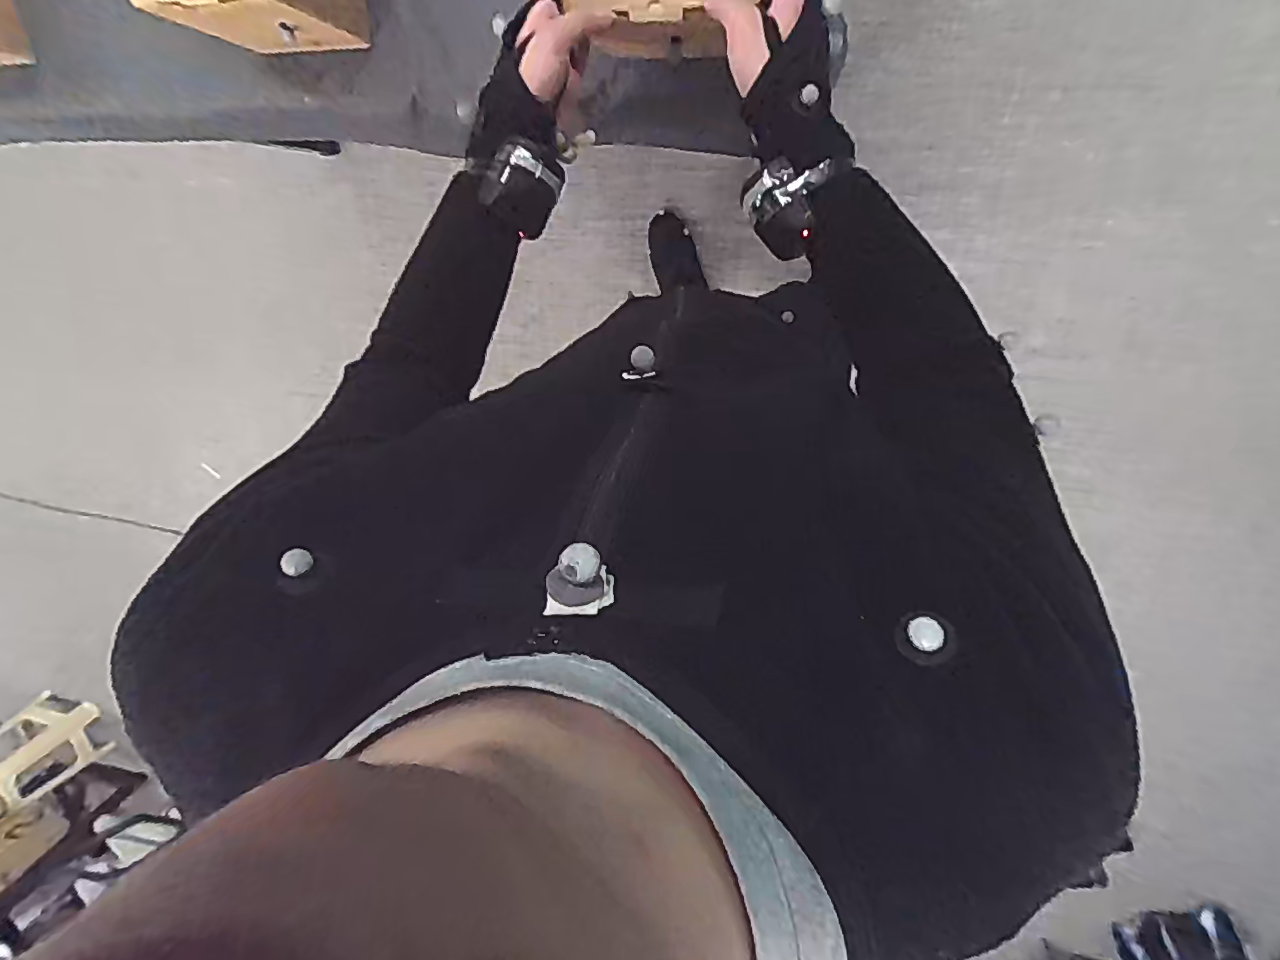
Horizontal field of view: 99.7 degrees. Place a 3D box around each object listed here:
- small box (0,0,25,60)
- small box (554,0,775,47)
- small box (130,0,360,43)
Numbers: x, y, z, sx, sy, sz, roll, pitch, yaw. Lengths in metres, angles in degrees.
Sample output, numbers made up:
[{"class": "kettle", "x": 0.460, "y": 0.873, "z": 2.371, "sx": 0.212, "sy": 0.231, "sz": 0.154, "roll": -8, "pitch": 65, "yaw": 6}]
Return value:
[{"class": "small box", "x": -0.938, "y": -0.639, "z": 0.655, "sx": 0.168, "sy": 0.176, "sz": 0.179, "roll": 6, "pitch": 116, "yaw": 10}, {"class": "small box", "x": 0.032, "y": -0.476, "z": 0.441, "sx": 0.168, "sy": 0.176, "sz": 0.179, "roll": 8, "pitch": 119, "yaw": 11}, {"class": "small box", "x": -0.426, "y": -0.588, "z": 0.567, "sx": 0.168, "sy": 0.176, "sz": 0.179, "roll": 5, "pitch": 114, "yaw": 9}]
